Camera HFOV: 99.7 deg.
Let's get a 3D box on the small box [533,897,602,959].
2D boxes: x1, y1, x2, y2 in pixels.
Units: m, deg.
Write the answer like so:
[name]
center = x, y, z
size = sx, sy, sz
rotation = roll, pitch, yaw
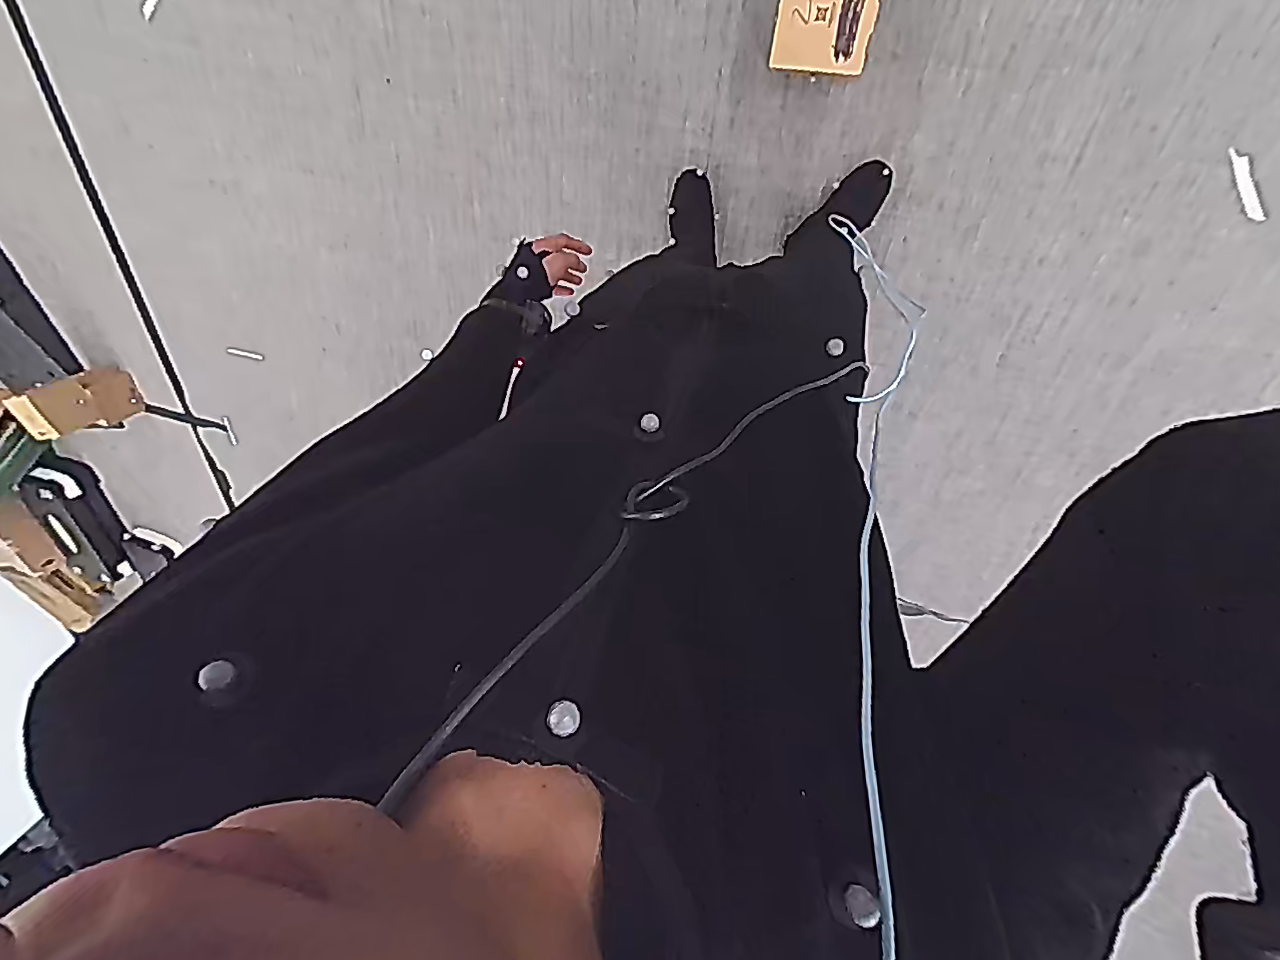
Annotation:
[small box]
center = -0.224, 1.443, 1.684
size = 0.168, 0.176, 0.179
rotation = 12, 126, 10
